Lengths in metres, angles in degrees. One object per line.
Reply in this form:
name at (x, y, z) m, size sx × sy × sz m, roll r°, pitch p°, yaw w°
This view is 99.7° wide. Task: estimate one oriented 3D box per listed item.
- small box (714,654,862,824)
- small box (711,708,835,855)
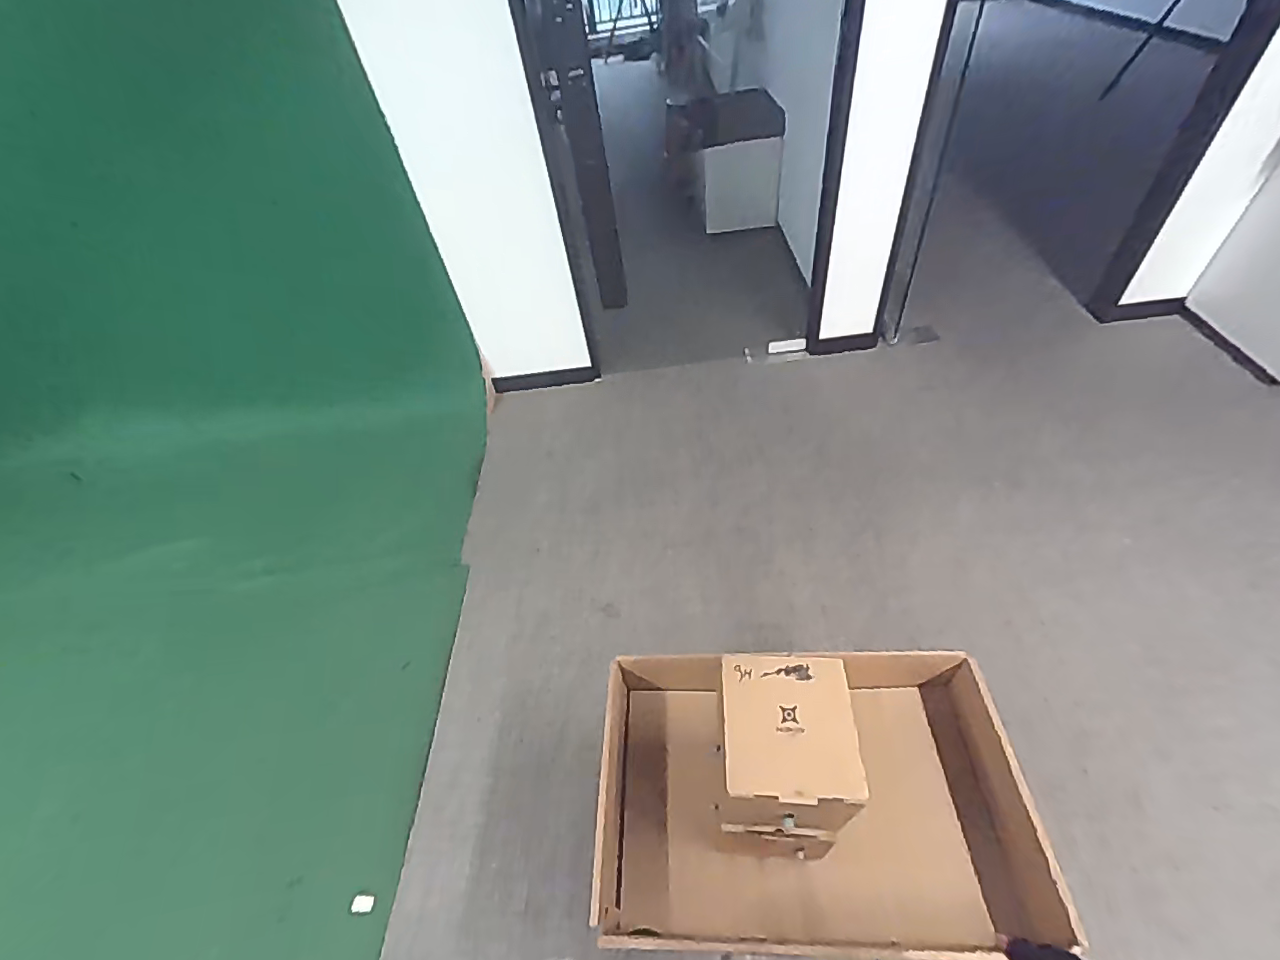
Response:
small box at (0.190, 0.360, 0.747) m, size 0.168 × 0.176 × 0.179 m, roll 0°, pitch 49°, yaw 5°
small box at (0.200, 0.477, 0.861) m, size 0.168 × 0.176 × 0.179 m, roll 1°, pitch 46°, yaw 5°
